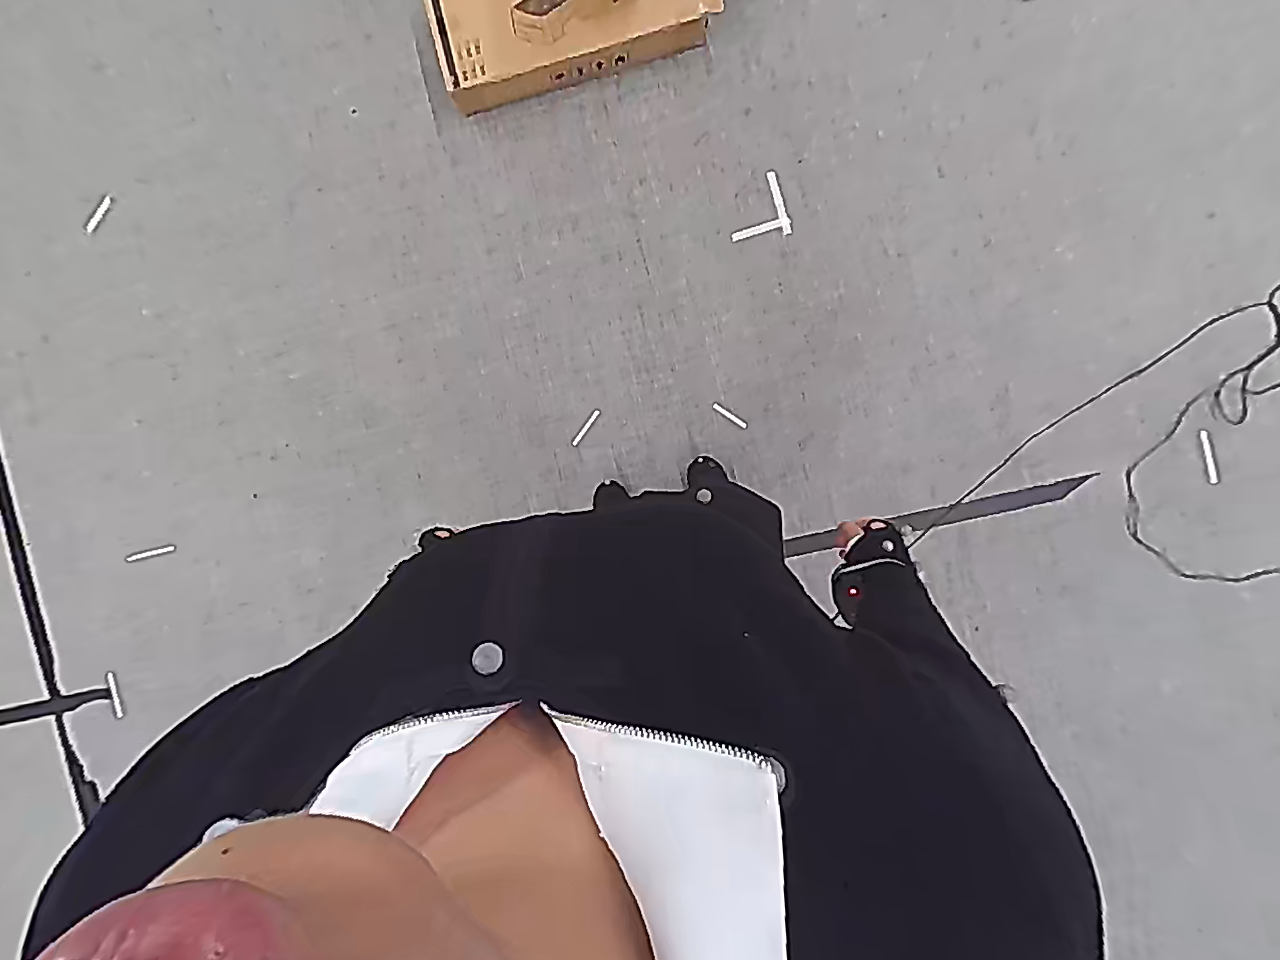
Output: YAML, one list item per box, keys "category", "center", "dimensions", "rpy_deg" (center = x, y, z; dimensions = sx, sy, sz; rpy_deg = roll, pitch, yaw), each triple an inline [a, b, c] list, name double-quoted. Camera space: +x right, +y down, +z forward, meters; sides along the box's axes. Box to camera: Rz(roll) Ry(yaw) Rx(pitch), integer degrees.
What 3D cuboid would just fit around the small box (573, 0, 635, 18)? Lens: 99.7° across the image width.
- category: "small box"
  center: [-0.108, -1.276, 1.294]
  dimensions: [0.168, 0.176, 0.179]
  rpy_deg: [-15, 89, 4]
